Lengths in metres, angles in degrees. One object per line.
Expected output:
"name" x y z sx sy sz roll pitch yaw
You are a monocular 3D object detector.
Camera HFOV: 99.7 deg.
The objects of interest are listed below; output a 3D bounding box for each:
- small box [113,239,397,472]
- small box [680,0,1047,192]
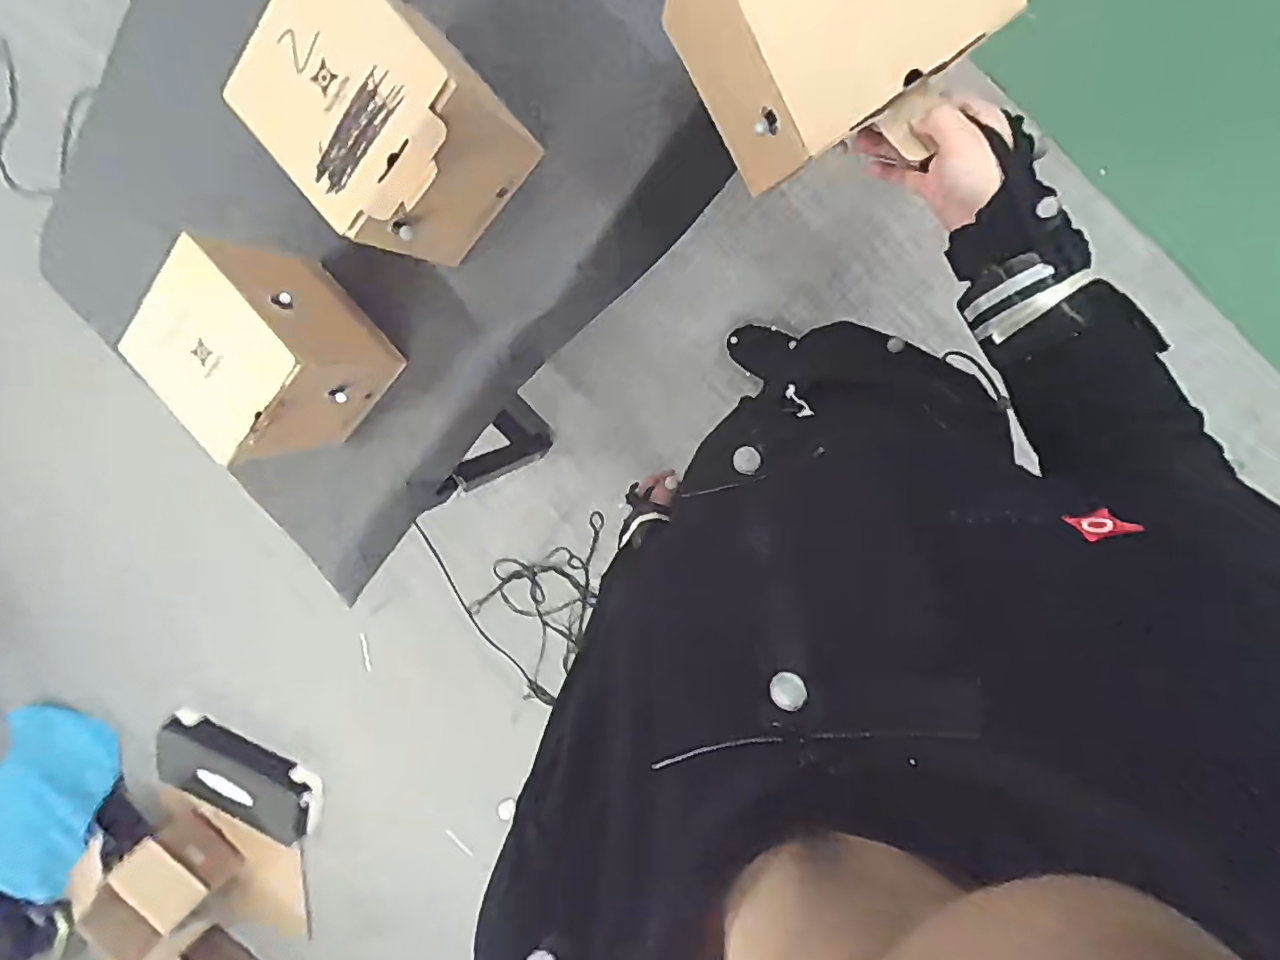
"small box" -0.424 -0.137 0.621 0.168 0.176 0.179 -42 89 18
"small box" 0.145 -0.354 0.409 0.168 0.176 0.179 -31 108 7
